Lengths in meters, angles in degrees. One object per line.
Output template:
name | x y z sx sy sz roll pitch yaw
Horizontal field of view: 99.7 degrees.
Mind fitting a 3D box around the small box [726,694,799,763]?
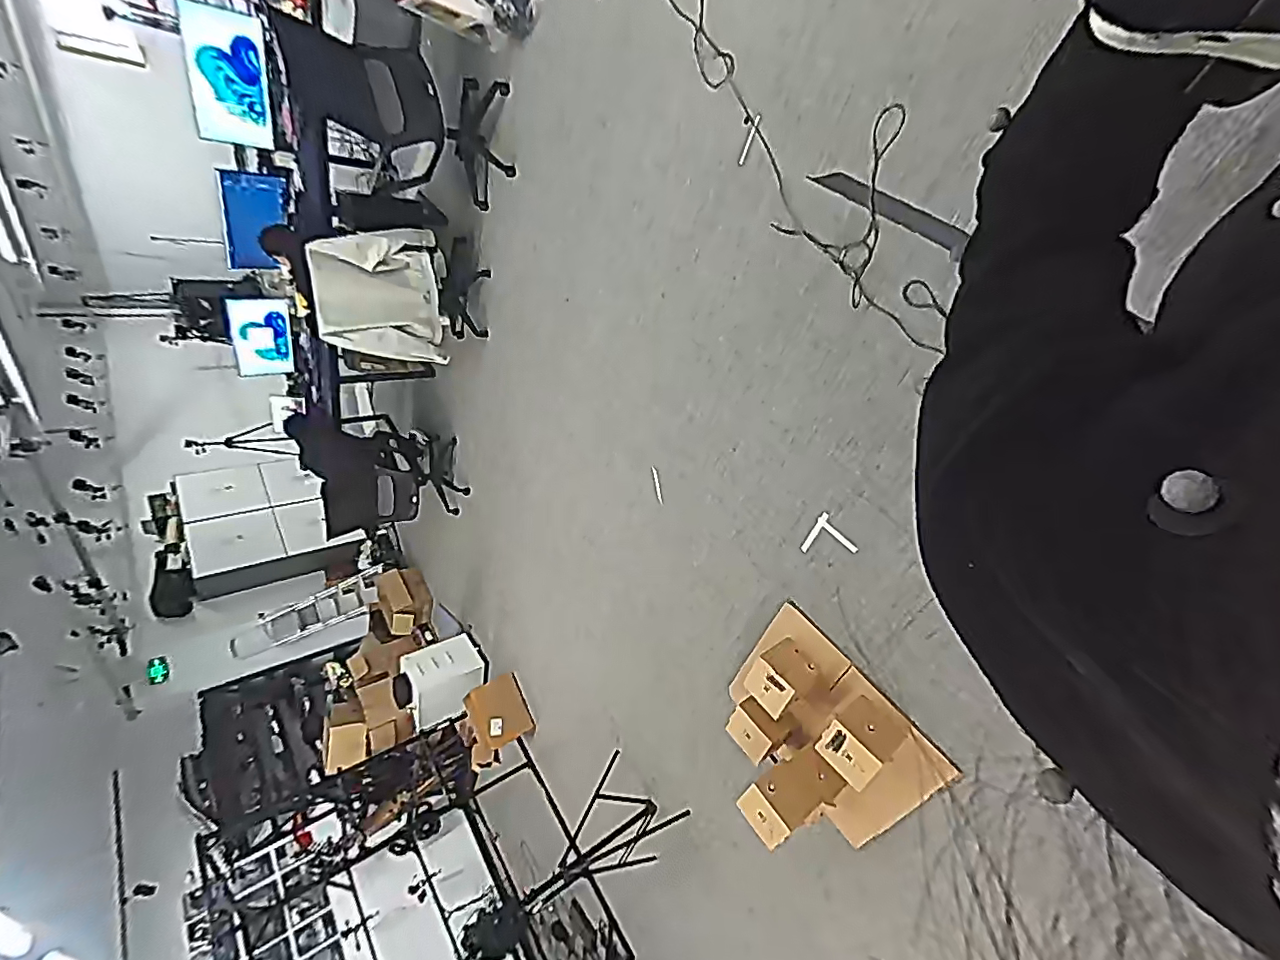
small box | 0.461 0.919 2.044 0.179 0.176 0.168 42 132 35

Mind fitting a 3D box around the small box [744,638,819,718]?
small box | 0.504 0.695 1.914 0.168 0.176 0.179 43 132 34

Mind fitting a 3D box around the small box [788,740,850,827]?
small box | 0.605 1.062 1.905 0.179 0.176 0.168 42 131 34

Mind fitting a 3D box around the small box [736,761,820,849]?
small box | 0.464 1.080 1.817 0.179 0.176 0.168 46 134 32
